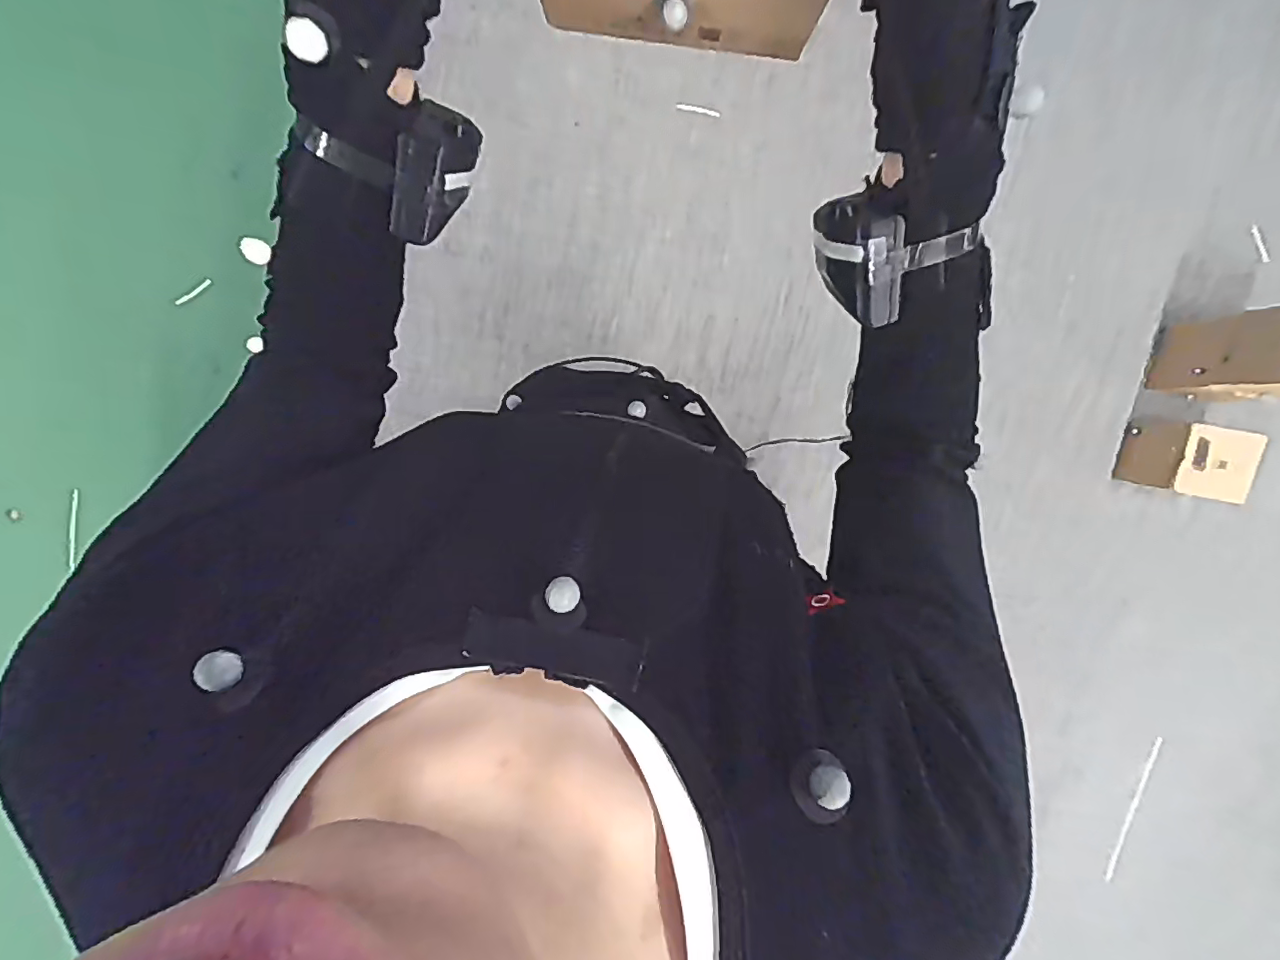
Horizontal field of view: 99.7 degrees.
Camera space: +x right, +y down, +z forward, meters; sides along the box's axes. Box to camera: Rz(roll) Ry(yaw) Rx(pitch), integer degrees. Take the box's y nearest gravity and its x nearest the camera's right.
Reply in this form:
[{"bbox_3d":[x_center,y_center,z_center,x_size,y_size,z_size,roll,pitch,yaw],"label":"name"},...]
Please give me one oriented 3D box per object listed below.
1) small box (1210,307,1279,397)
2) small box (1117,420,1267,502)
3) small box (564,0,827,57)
[{"bbox_3d":[1.383,-0.266,1.130,0.179,0.176,0.168,11,99,0],"label":"small box"},{"bbox_3d":[1.340,-0.053,1.329,0.179,0.176,0.168,10,99,0],"label":"small box"},{"bbox_3d":[0.034,-0.350,0.253,0.168,0.176,0.179,7,104,0],"label":"small box"}]
